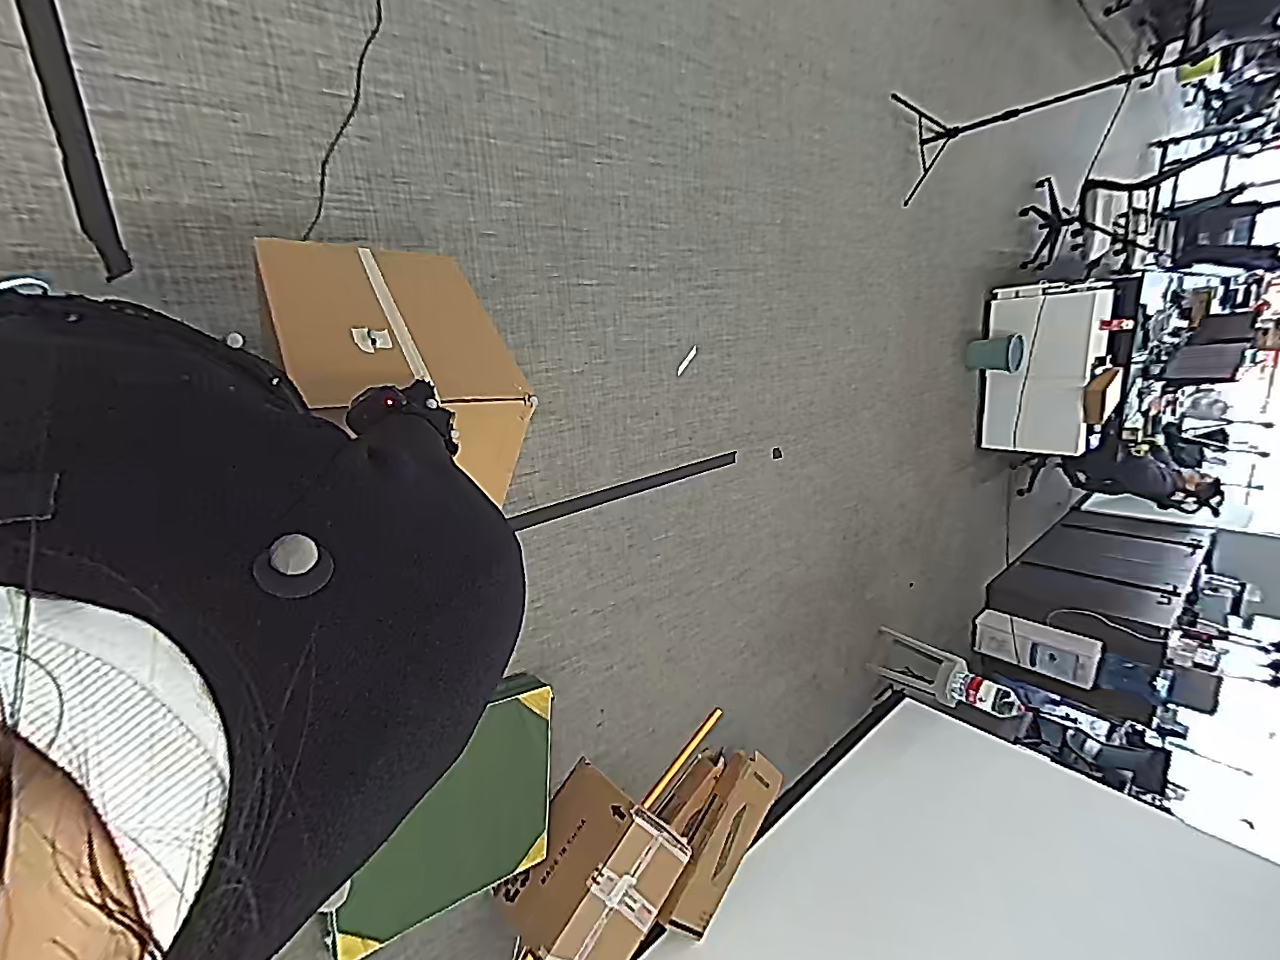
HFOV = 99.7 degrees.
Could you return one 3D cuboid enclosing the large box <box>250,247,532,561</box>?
[{"bbox_3d":[-0.439,-0.134,0.924,0.320,0.408,0.320,-10,144,-37],"label":"large box"}]
